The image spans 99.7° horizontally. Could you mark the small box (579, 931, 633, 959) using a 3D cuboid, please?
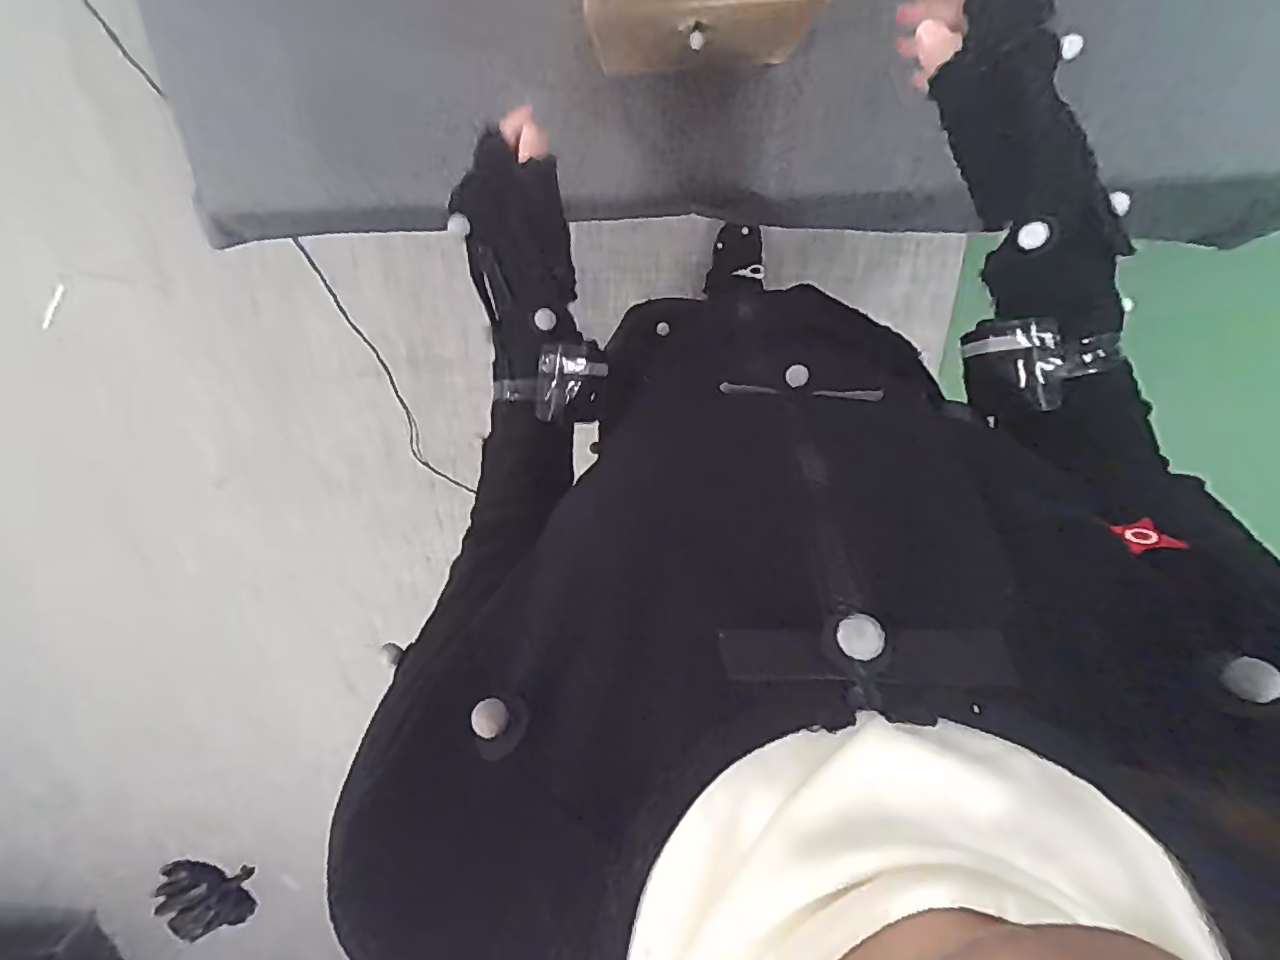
[{"bbox_3d":[-0.119,1.689,1.858,0.179,0.176,0.168,-2,113,2],"label":"small box"}]

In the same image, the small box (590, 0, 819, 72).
[{"bbox_3d":[0.048,-0.448,0.430,0.179,0.176,0.168,-3,115,2],"label":"small box"}]
